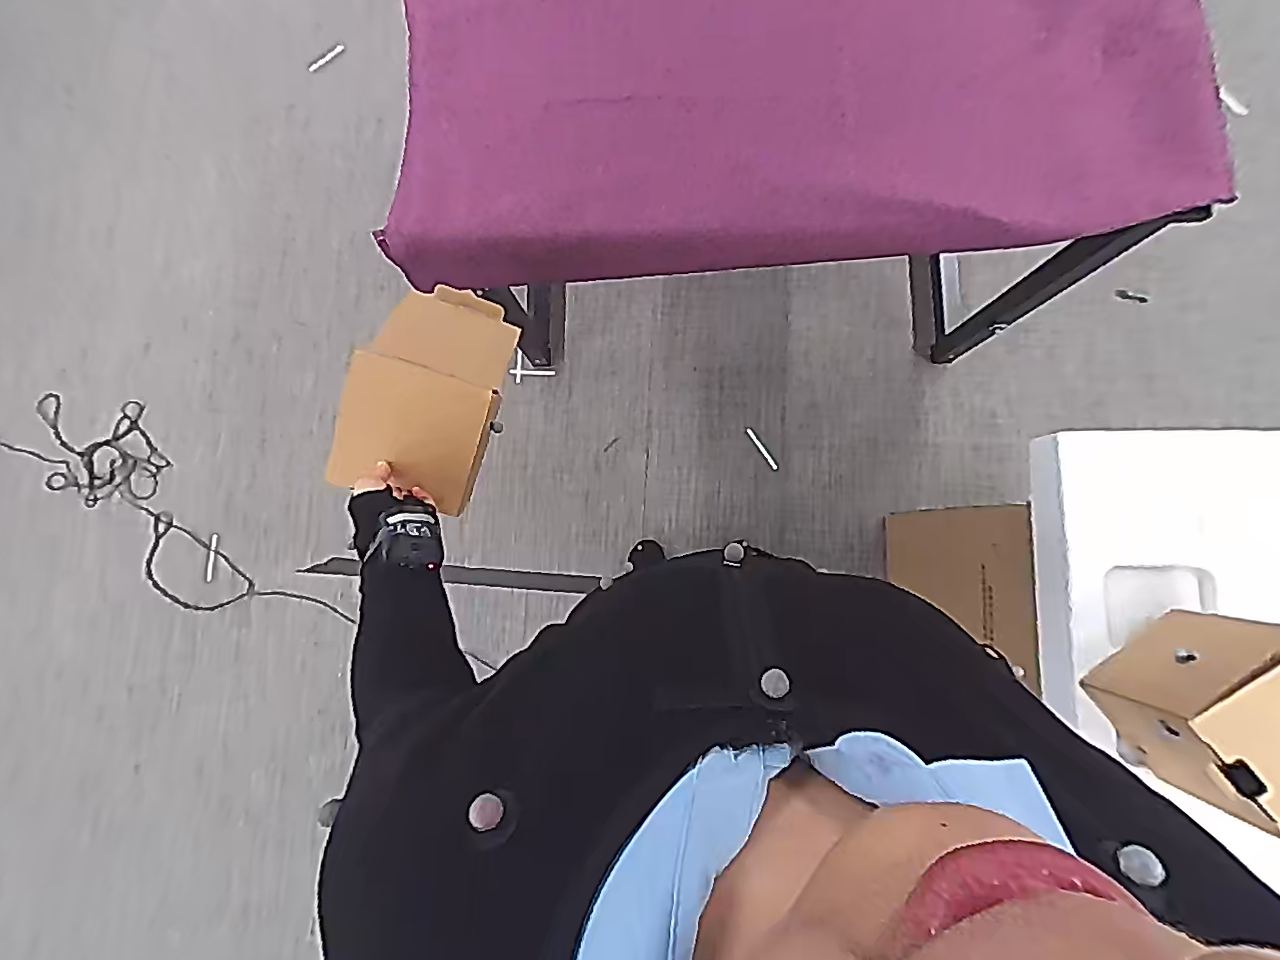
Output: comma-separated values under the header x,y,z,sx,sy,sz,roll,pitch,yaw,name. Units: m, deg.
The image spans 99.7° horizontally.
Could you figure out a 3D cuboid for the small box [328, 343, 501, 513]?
x,y,z,sx,sy,sz,roll,pitch,yaw,name
-0.301,-0.070,0.758,0.168,0.176,0.179,18,91,-13,small box
